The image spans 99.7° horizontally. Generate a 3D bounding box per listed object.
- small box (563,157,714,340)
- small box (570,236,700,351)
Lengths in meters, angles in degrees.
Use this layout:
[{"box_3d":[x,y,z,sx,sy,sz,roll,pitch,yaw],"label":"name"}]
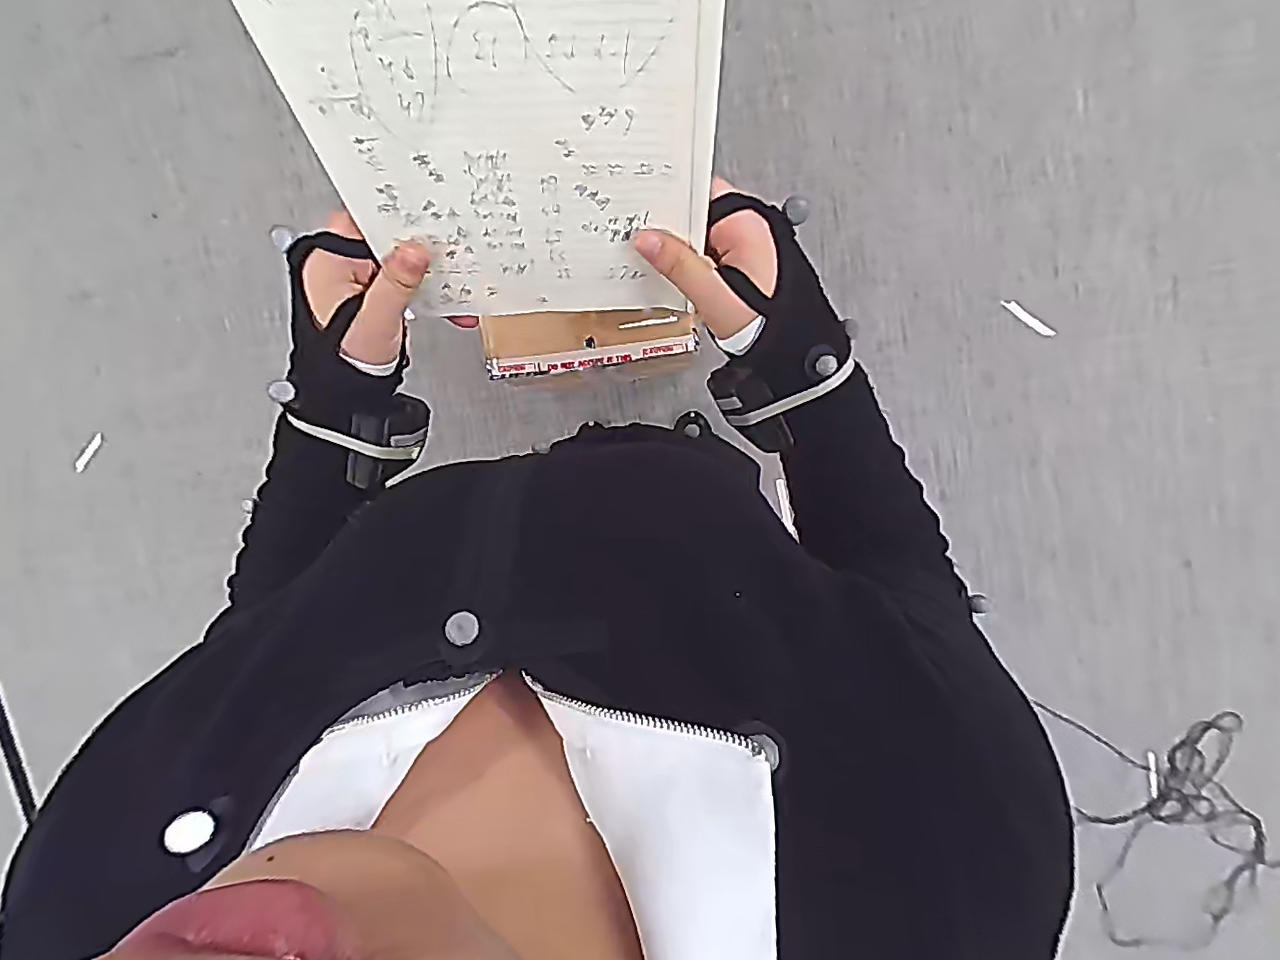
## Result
[{"box_3d":[-0.003,-0.297,0.729,0.168,0.176,0.179,-8,98,1],"label":"small box"},{"box_3d":[-0.006,-0.317,0.892,0.179,0.176,0.168,-12,97,2],"label":"small box"}]
